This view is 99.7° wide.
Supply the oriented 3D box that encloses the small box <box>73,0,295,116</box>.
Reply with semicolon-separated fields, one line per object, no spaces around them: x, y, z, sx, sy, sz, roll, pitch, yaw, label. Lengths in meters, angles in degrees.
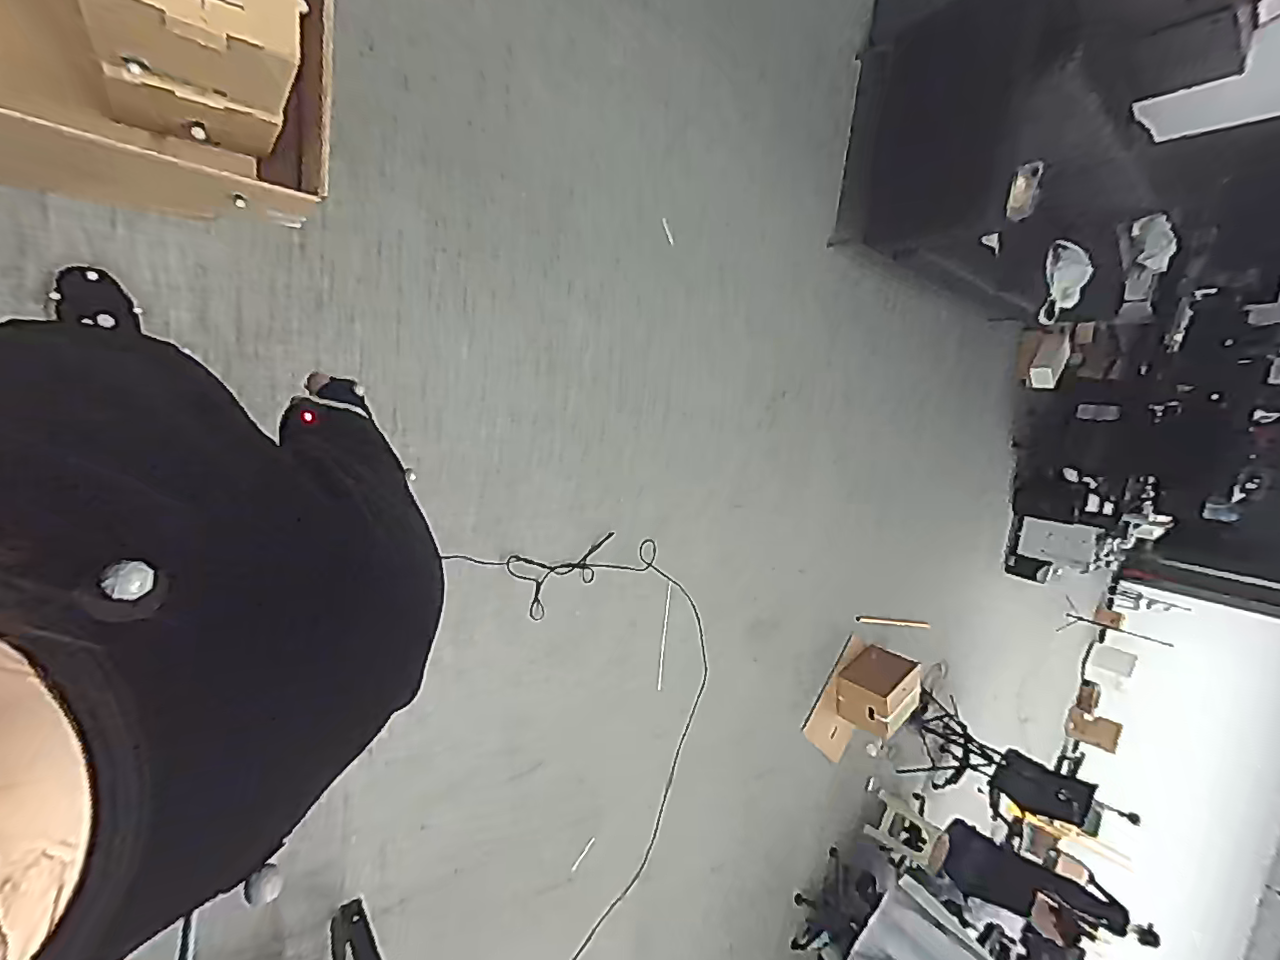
-0.459;-0.513;0.551;0.168;0.176;0.179;-4;102;-40;small box
